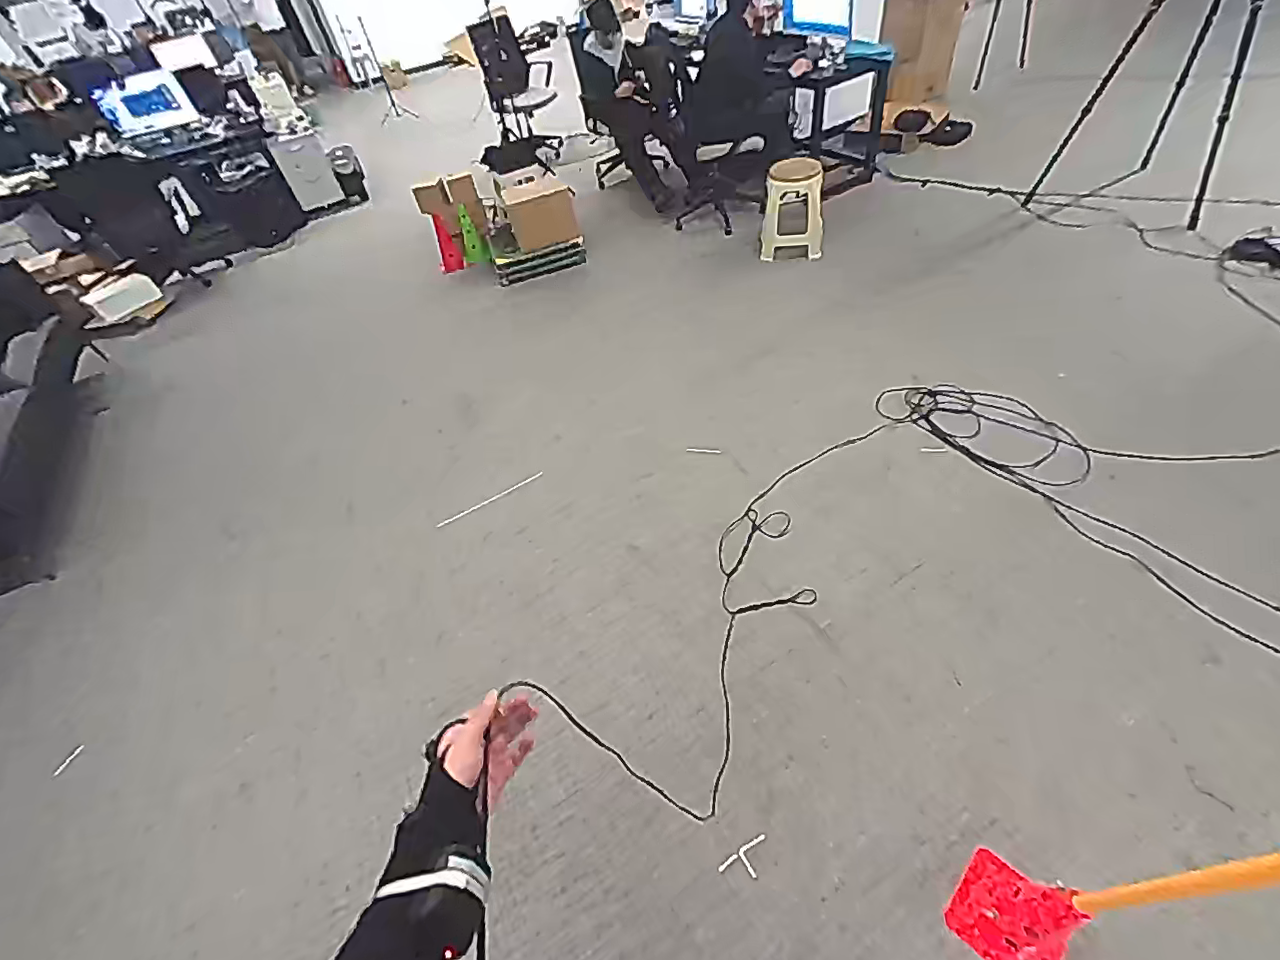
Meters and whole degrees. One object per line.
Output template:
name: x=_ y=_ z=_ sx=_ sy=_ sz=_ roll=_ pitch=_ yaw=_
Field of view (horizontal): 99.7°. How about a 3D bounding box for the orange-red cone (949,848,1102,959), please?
orange-red cone: x=0.778 y=0.827 z=1.040 sx=0.199 sy=0.360 sz=0.198 roll=-39 pitch=53 yaw=-24
